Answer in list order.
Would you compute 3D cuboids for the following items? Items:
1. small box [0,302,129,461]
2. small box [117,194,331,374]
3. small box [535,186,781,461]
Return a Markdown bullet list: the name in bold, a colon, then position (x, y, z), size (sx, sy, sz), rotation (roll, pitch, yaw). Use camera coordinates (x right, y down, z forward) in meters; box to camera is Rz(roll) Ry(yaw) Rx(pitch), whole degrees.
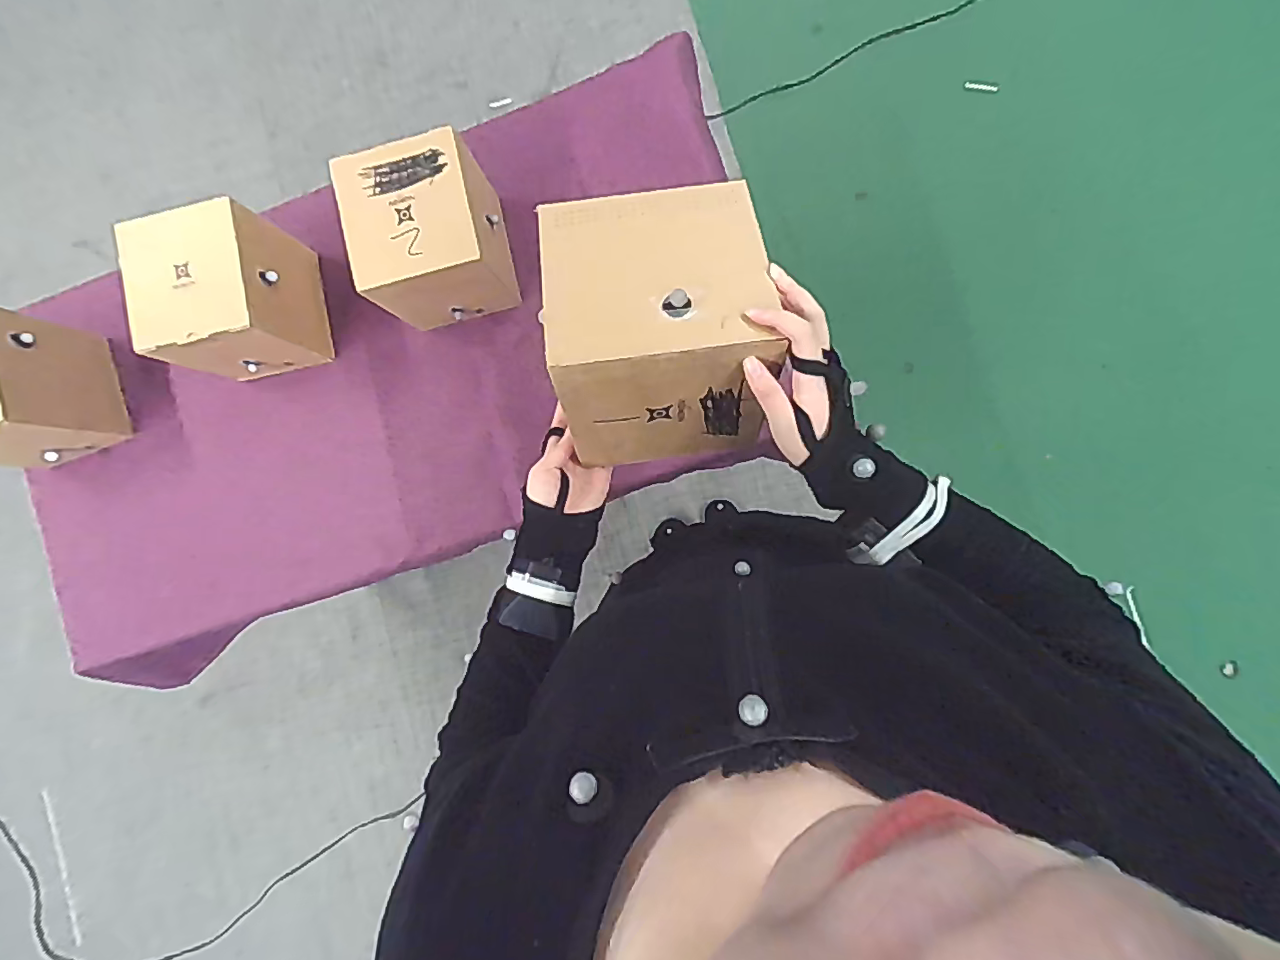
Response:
- **small box**: position (-0.924, -0.136, 0.799), size (0.168, 0.176, 0.179), rotation (-18, 87, 4)
- **small box**: position (-0.581, -0.267, 0.775), size (0.168, 0.176, 0.179), rotation (-11, 88, 5)
- **small box**: position (0.010, -0.134, 0.486), size (0.179, 0.168, 0.176), rotation (-7, 66, 0)
